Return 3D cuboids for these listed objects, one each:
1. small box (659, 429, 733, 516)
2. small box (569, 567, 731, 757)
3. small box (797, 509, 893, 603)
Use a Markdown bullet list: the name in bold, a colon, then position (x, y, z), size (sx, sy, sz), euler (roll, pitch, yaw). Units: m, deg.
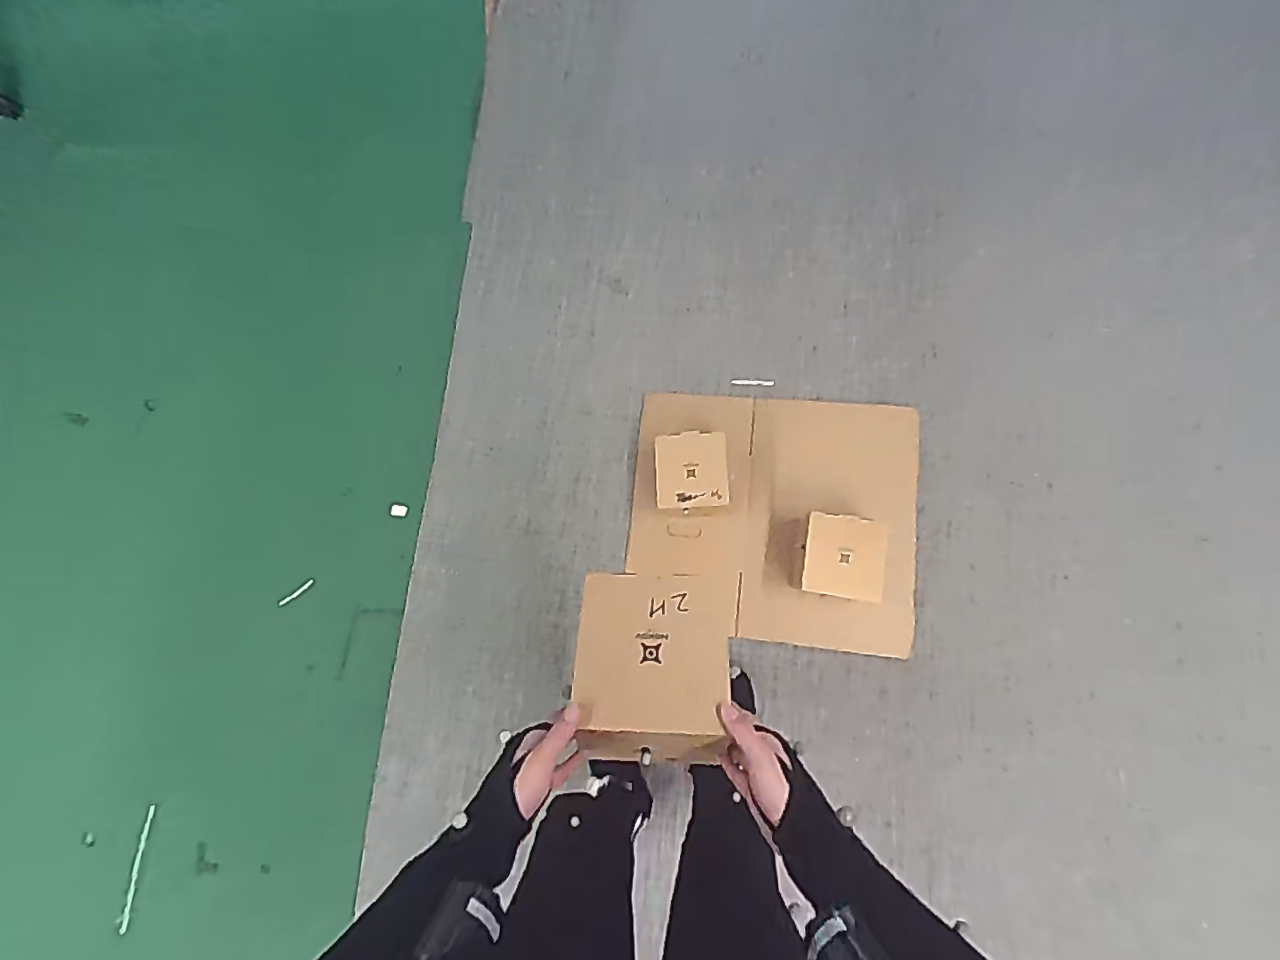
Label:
- **small box**: position (0.136, -0.012, 1.307), size (0.168, 0.176, 0.179), euler (-3, 79, 9)
- **small box**: position (0.019, 0.222, 0.648), size (0.168, 0.176, 0.179), euler (2, 53, 4)
- **small box**: position (0.453, 0.173, 1.216), size (0.168, 0.176, 0.179), euler (8, 80, 11)
